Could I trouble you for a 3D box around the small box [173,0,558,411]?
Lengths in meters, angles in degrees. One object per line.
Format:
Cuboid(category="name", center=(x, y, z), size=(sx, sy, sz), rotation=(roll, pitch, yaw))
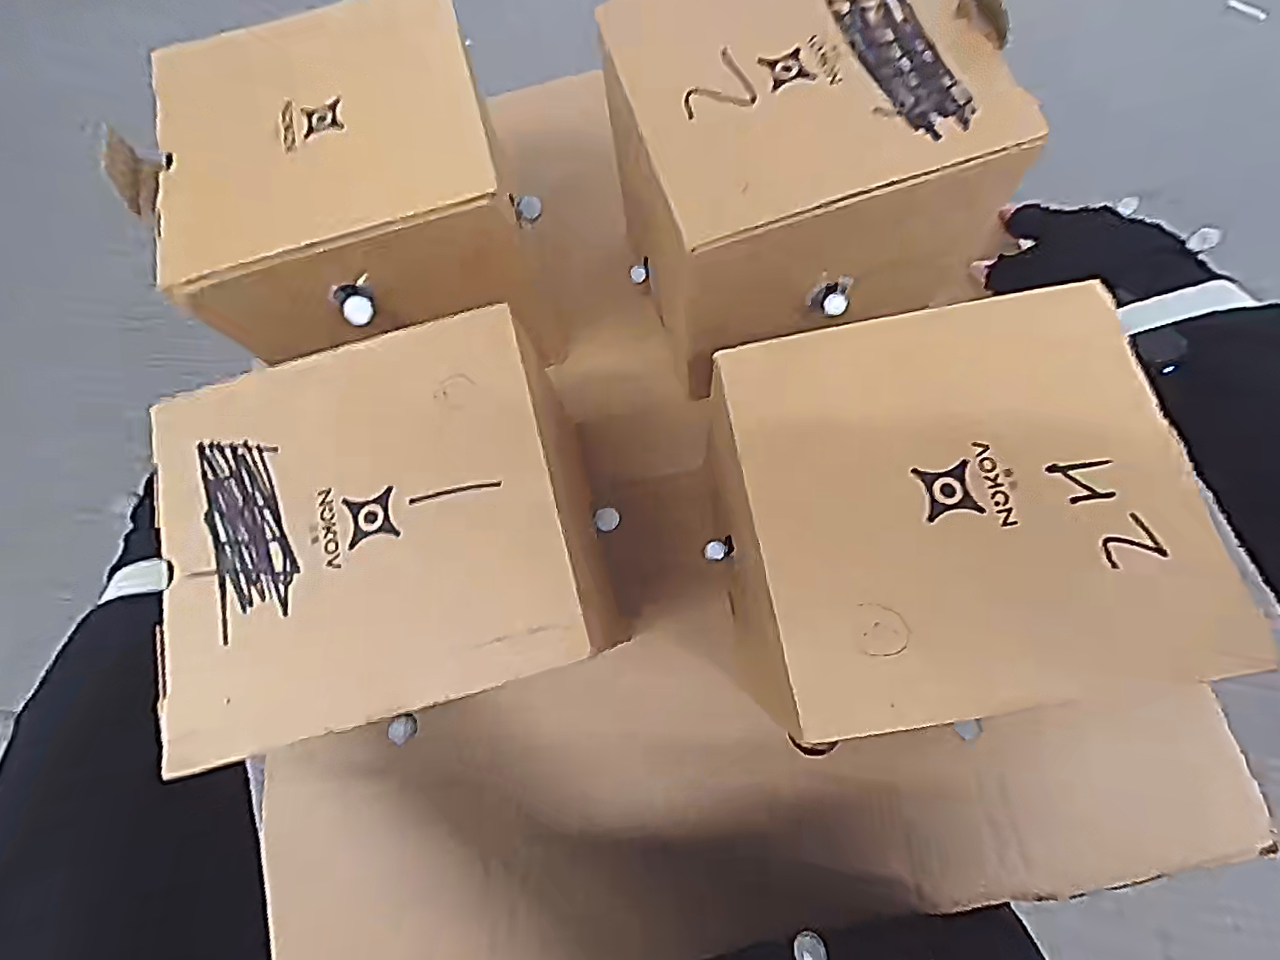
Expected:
Cuboid(category="small box", center=(-0.164, -0.169, 0.372), size=(0.179, 0.176, 0.168), rotation=(-16, 72, 1))
